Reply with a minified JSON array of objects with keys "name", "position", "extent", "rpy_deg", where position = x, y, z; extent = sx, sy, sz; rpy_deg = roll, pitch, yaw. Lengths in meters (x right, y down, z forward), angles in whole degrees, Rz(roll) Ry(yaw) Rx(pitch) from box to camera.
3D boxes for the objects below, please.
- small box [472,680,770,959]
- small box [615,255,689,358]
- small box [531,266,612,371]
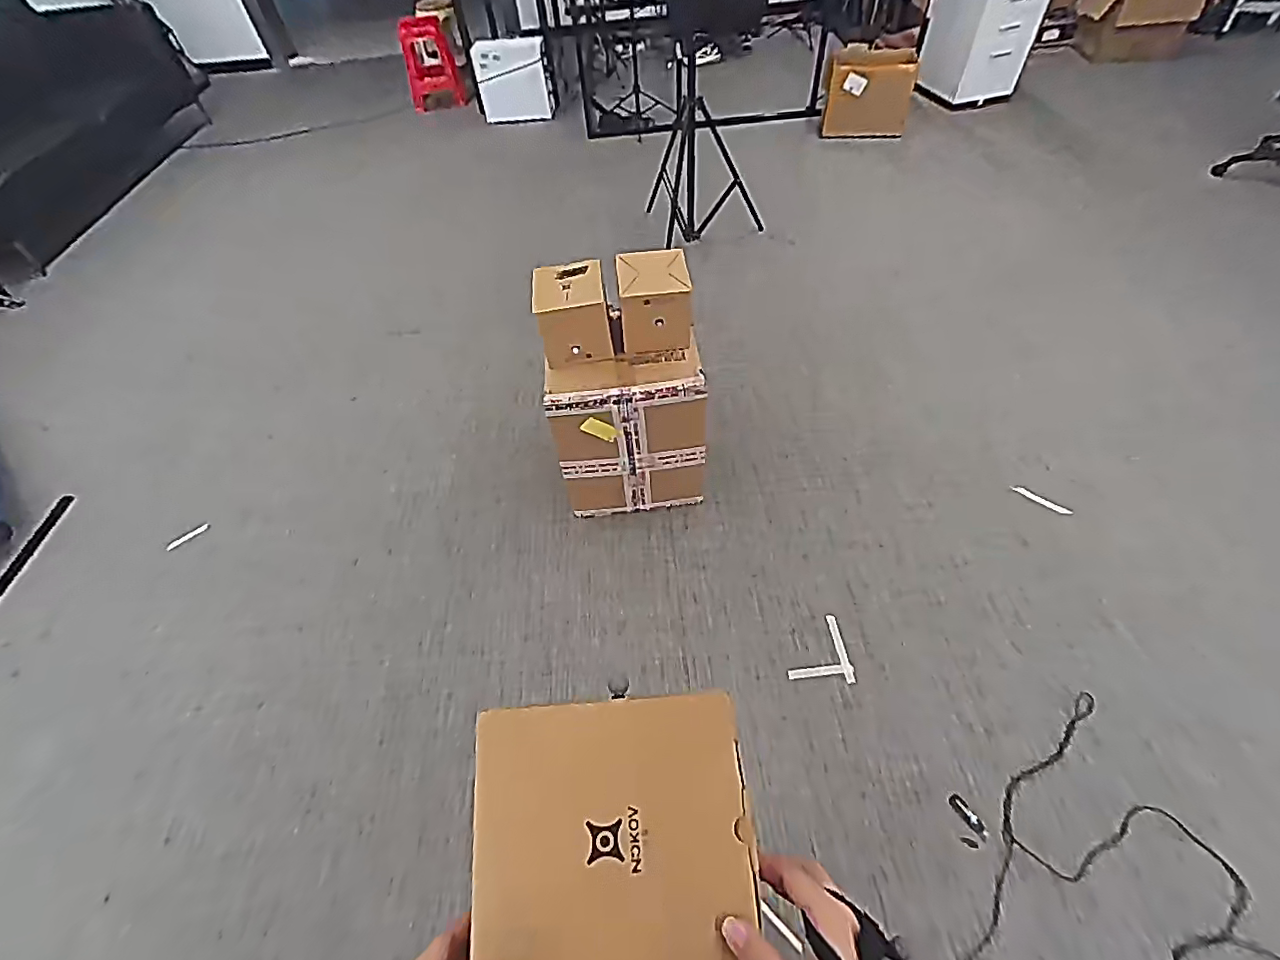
[{"name":"small box","position":[-0.016,0.251,0.414],"extent":[0.179,0.176,0.168],"rpy_deg":[-4,68,-2]},{"name":"small box","position":[0.028,-0.428,1.334],"extent":[0.168,0.176,0.179],"rpy_deg":[-5,53,-2]},{"name":"small box","position":[-0.165,-0.393,1.329],"extent":[0.168,0.176,0.179],"rpy_deg":[-9,54,2]}]
